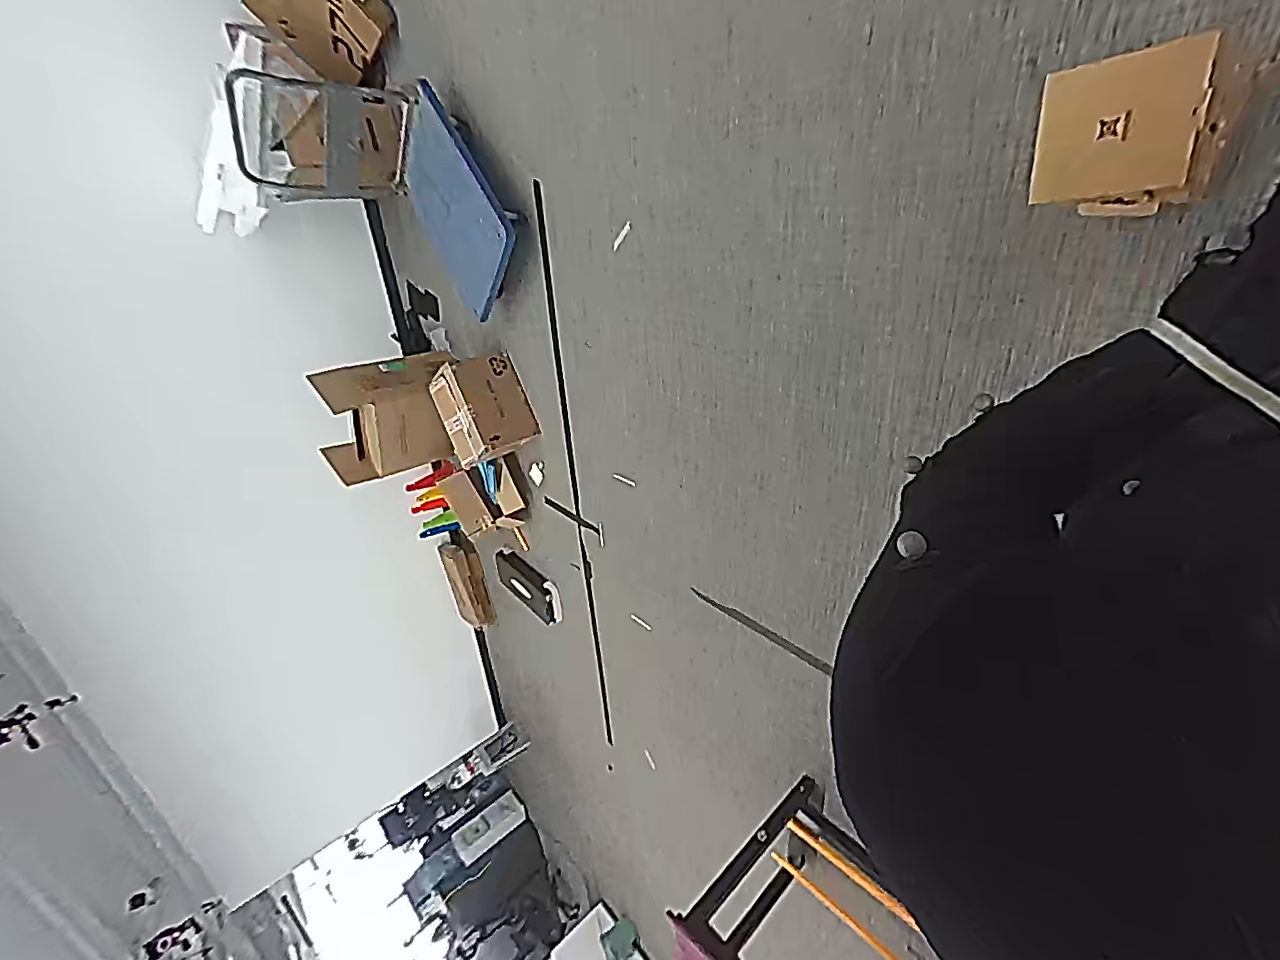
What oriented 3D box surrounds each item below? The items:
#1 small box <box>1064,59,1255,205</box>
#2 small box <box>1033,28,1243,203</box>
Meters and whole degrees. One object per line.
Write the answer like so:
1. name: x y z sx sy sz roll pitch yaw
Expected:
1. small box: 0.821 -0.538 0.857 0.168 0.176 0.179 26 128 43
2. small box: 0.696 -0.494 0.763 0.179 0.176 0.168 18 122 46
